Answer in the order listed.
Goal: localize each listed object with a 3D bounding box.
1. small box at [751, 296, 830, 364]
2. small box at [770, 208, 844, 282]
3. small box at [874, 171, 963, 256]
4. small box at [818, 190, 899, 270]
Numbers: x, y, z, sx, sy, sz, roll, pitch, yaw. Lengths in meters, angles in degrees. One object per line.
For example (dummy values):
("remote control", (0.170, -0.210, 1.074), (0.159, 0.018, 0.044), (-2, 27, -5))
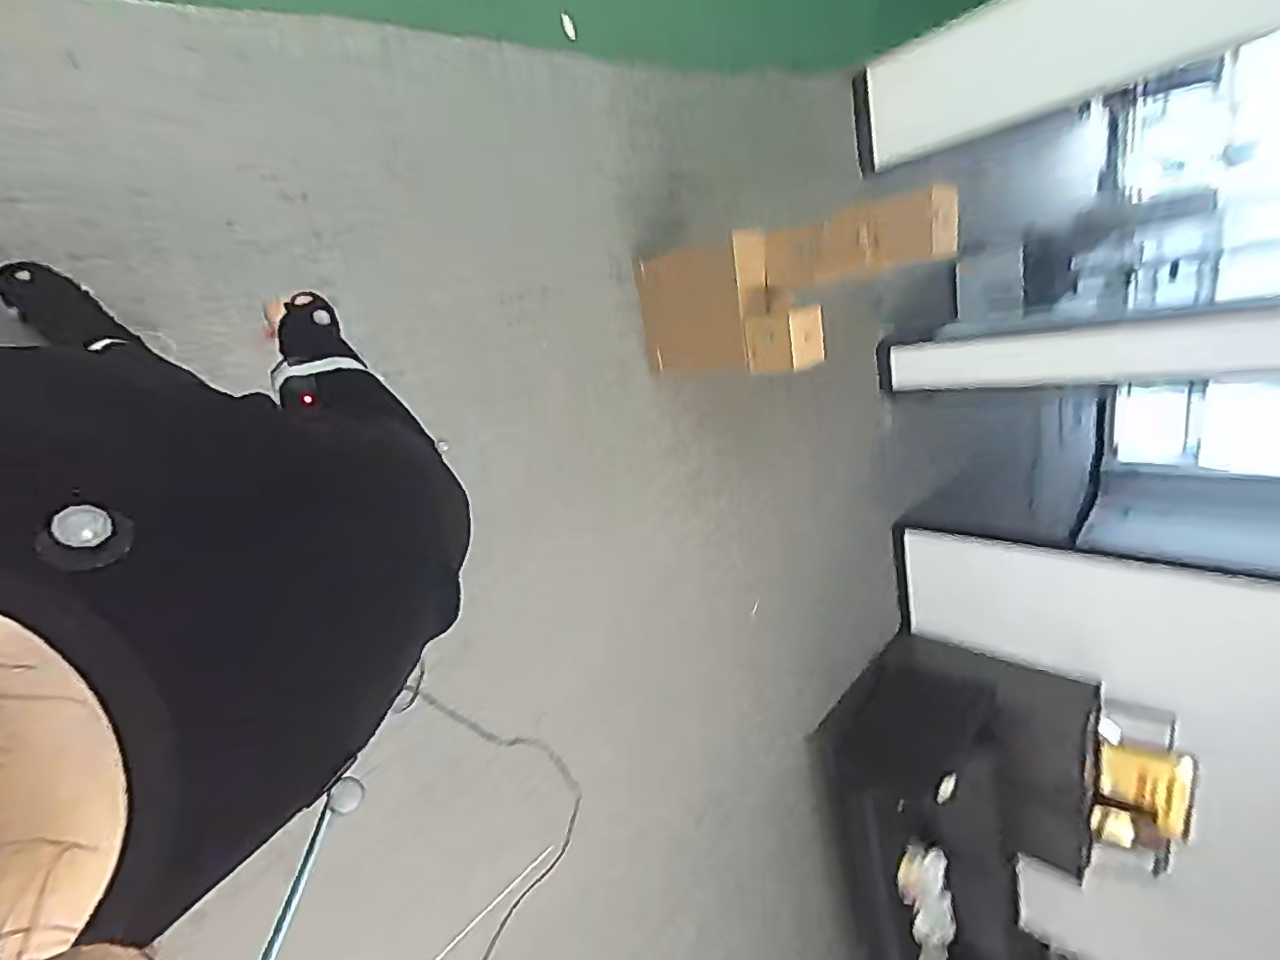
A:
("small box", (0.458, -0.459, 1.666), (0.179, 0.176, 0.168), (-25, 112, -37))
("small box", (0.520, -0.726, 1.687), (0.168, 0.176, 0.179), (-16, 107, -39))
("small box", (0.746, -0.704, 1.447), (0.179, 0.176, 0.168), (-22, 109, -39))
("small box", (0.631, -0.715, 1.566), (0.179, 0.176, 0.168), (-14, 105, -41))
